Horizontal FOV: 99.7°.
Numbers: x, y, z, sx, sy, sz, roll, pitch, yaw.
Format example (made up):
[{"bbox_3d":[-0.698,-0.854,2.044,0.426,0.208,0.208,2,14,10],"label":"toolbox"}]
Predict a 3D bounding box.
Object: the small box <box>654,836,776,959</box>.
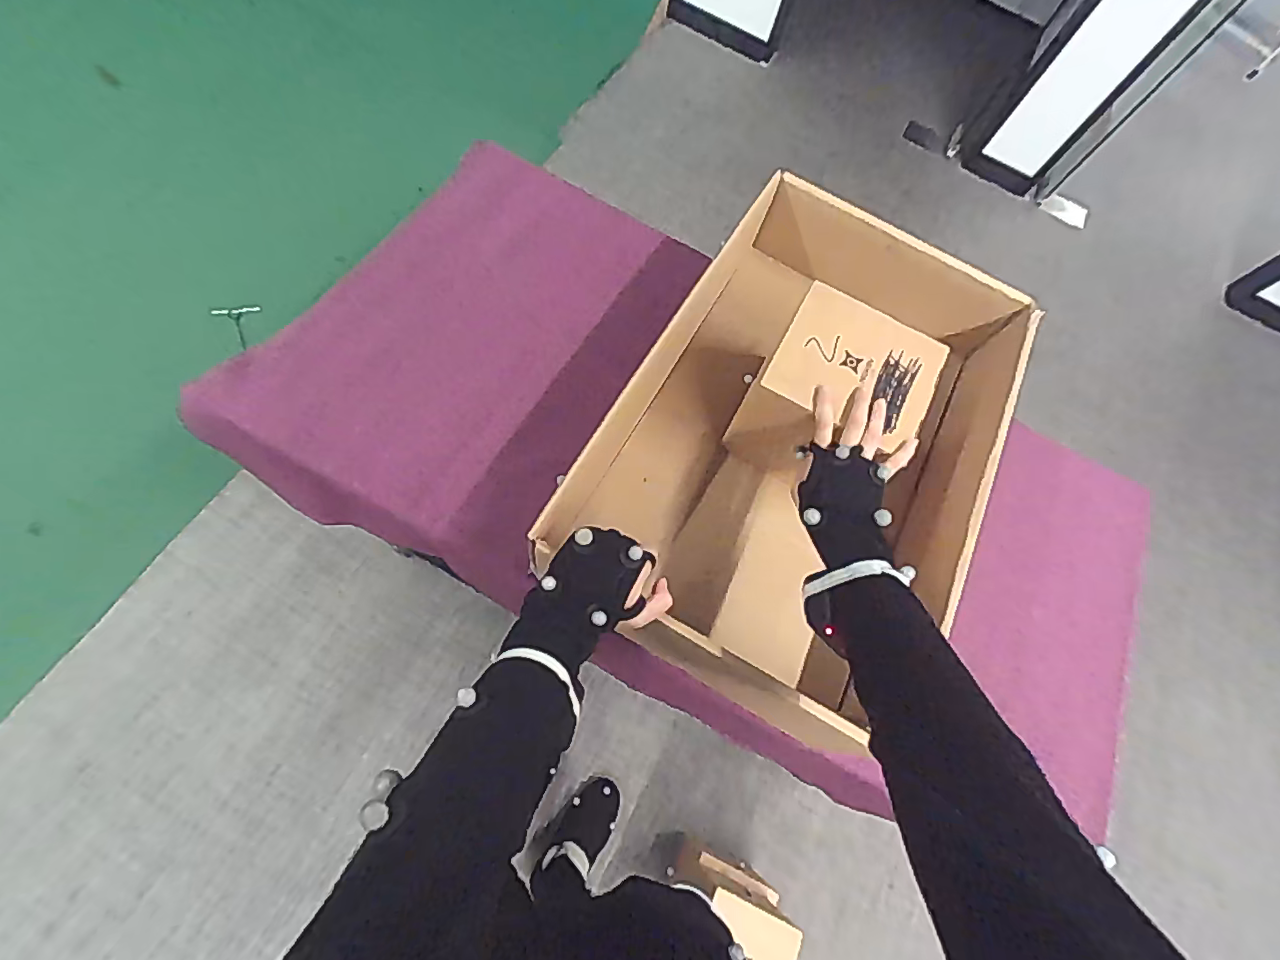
[{"bbox_3d":[0.148,0.875,1.119,0.179,0.176,0.168,28,67,3],"label":"small box"}]
